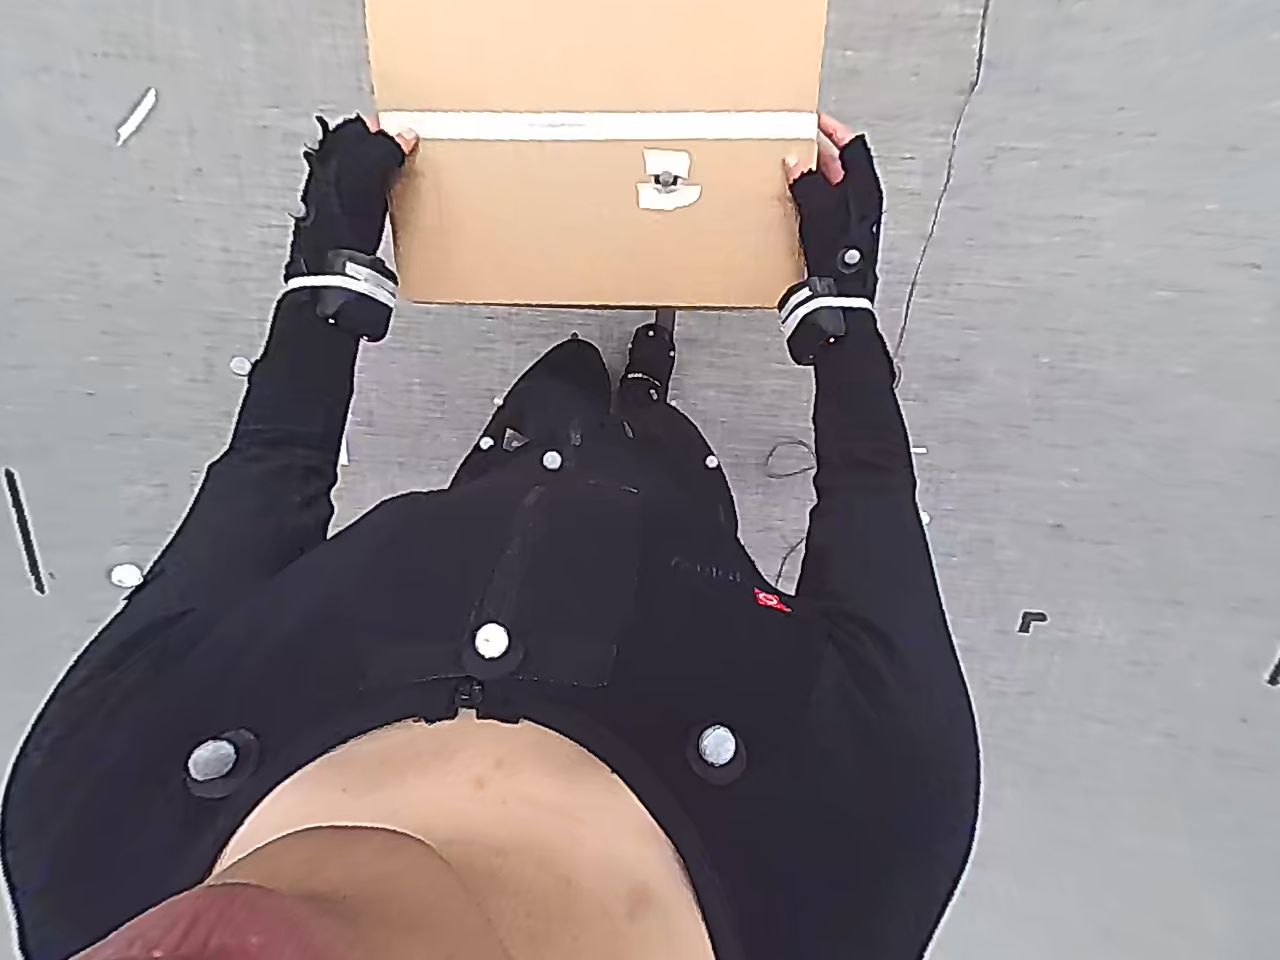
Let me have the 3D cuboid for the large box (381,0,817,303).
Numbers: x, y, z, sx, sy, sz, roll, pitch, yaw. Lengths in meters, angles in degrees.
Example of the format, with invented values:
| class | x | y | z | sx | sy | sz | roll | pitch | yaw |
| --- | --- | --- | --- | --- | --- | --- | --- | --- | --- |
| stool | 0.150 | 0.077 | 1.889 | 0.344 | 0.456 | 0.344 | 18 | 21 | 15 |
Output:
| class | x | y | z | sx | sy | sz | roll | pitch | yaw |
| --- | --- | --- | --- | --- | --- | --- | --- | --- | --- |
| large box | -0.038 | -0.385 | 0.658 | 0.408 | 0.320 | 0.320 | 1 | 107 | 0 |
